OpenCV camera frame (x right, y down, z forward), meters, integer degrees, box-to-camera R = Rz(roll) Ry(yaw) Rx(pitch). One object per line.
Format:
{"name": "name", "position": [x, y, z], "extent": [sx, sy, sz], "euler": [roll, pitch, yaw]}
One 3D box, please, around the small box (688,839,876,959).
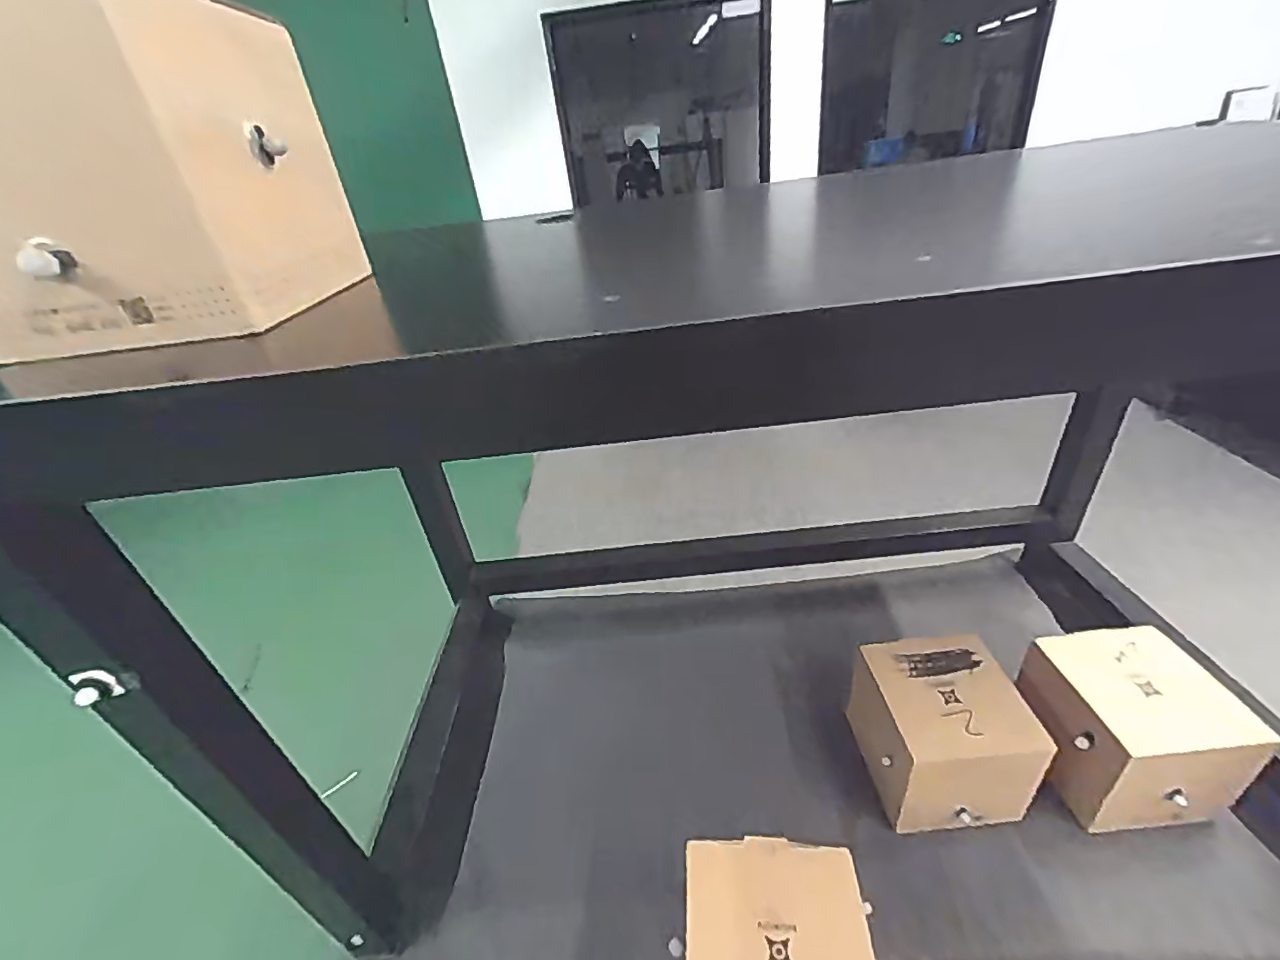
{"name": "small box", "position": [0.132, 0.486, 0.519], "extent": [0.168, 0.176, 0.179], "euler": [-2, 27, 6]}

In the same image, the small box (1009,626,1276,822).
{"name": "small box", "position": [0.634, 0.324, 0.714], "extent": [0.168, 0.176, 0.179], "euler": [-7, 31, 1]}
